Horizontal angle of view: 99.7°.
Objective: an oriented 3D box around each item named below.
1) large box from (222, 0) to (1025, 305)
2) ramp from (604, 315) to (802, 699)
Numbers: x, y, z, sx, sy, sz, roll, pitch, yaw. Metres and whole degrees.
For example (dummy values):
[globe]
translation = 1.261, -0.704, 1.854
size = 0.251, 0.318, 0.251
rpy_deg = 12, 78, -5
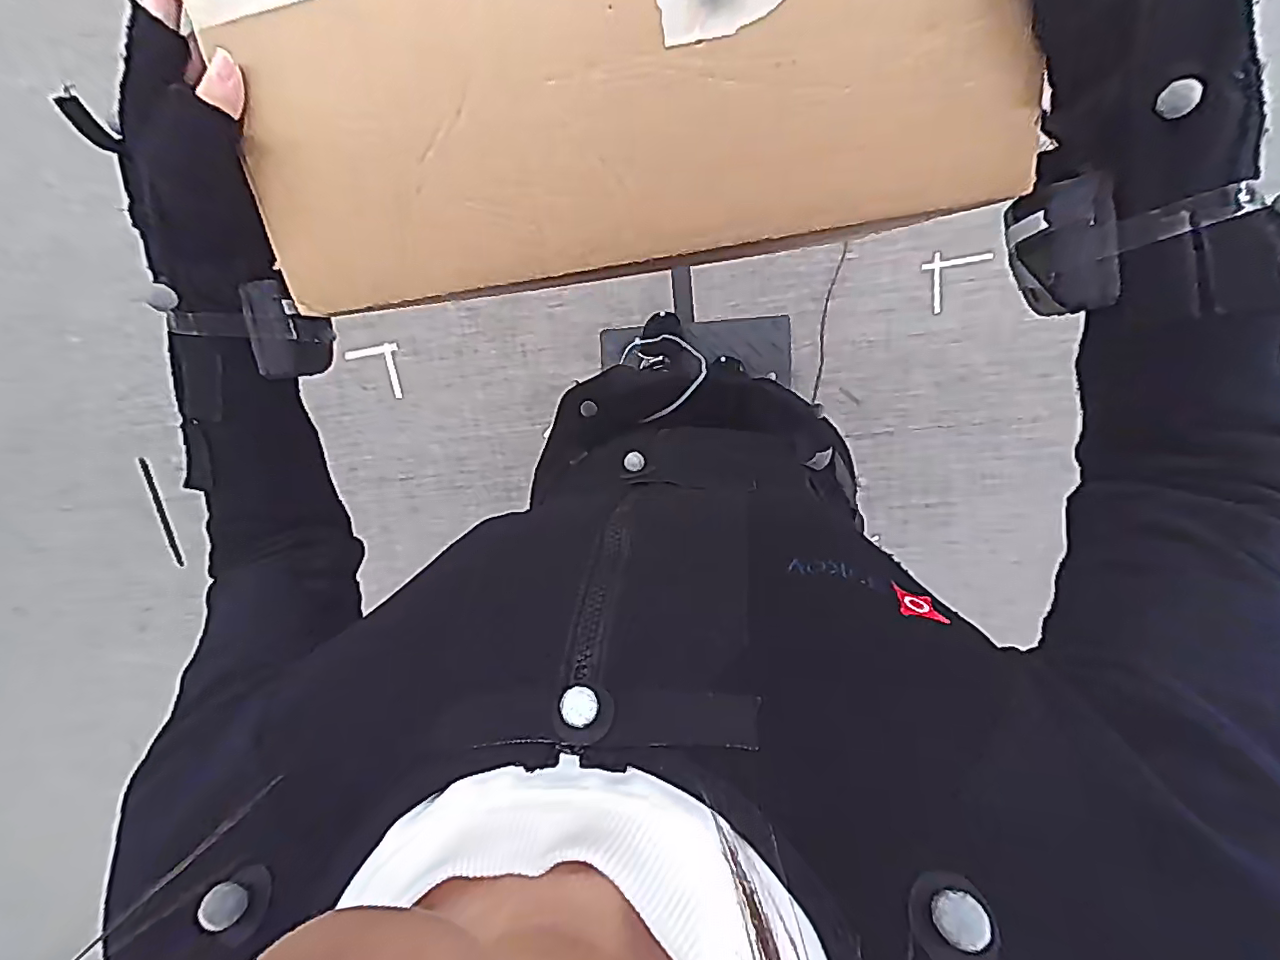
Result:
[large box]
translation = -0.012, -0.326, 0.392
size = 0.408, 0.320, 0.320
rpy_deg = -6, 111, 11
[ramp]
translation = 0.162, 0.089, 1.437
size = 0.509, 0.206, 0.991
rpy_deg = -3, 104, 12
